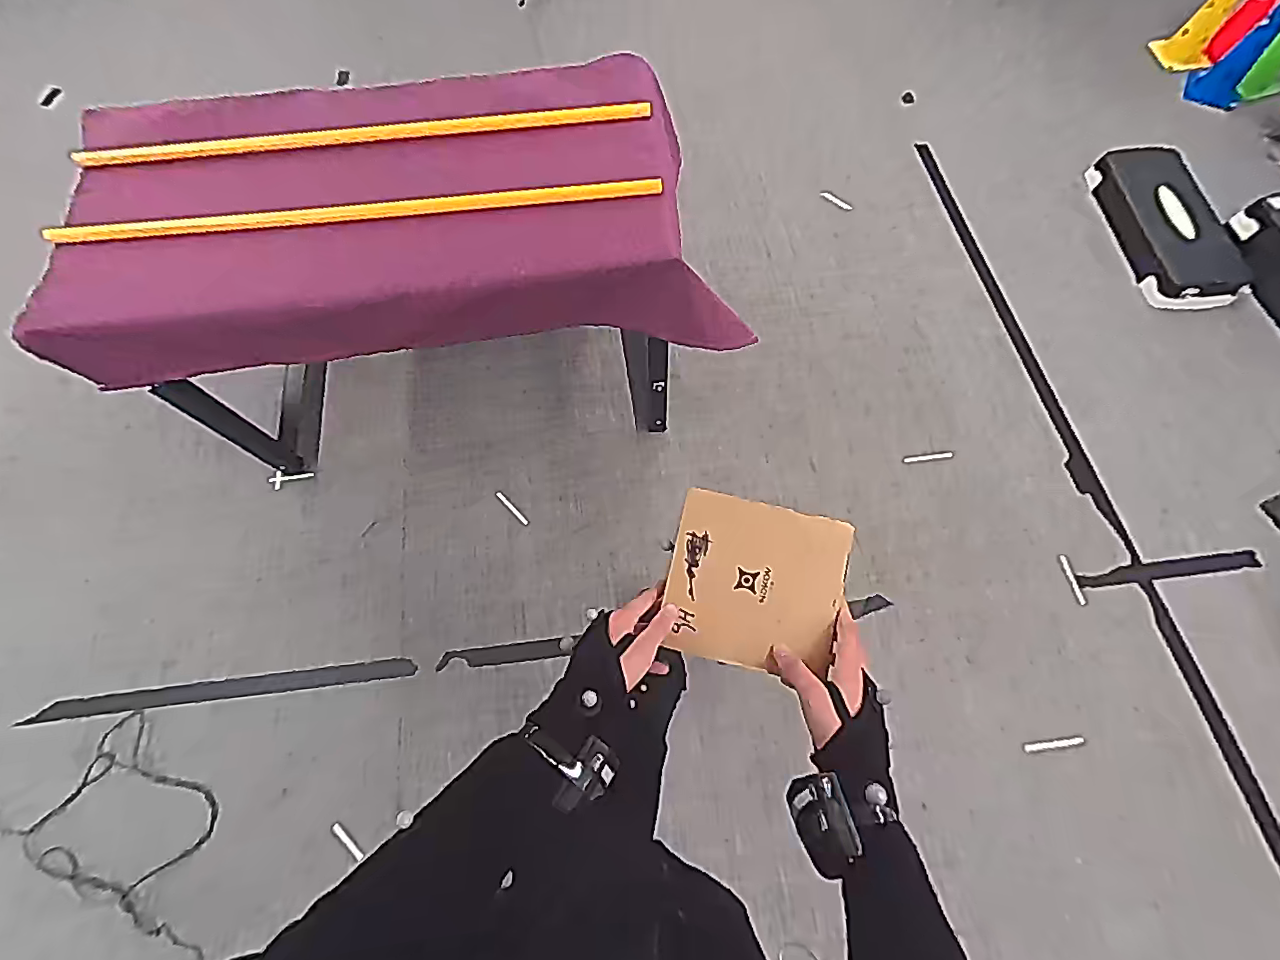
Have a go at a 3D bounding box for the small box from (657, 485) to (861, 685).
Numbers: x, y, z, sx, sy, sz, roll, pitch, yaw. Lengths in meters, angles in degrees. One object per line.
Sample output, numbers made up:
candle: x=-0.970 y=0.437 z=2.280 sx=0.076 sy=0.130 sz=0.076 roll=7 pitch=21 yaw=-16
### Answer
small box: x=0.123 y=0.114 z=0.618 sx=0.179 sy=0.176 sz=0.168 roll=14 pitch=81 yaw=5
